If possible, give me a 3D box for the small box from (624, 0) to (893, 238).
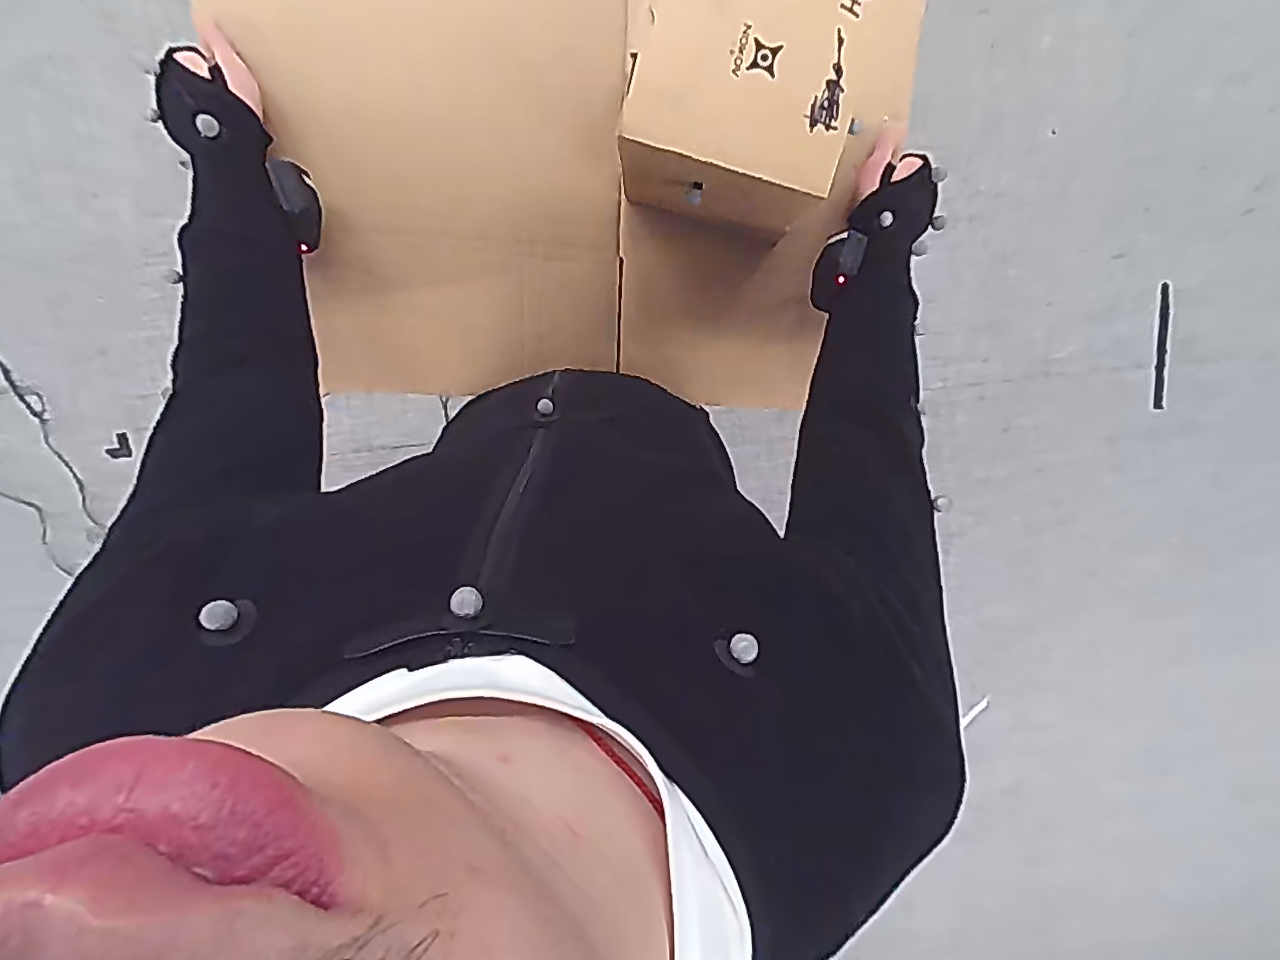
[{"bbox_3d":[0.093,-0.342,0.498,0.179,0.176,0.168,16,102,-2],"label":"small box"}]
